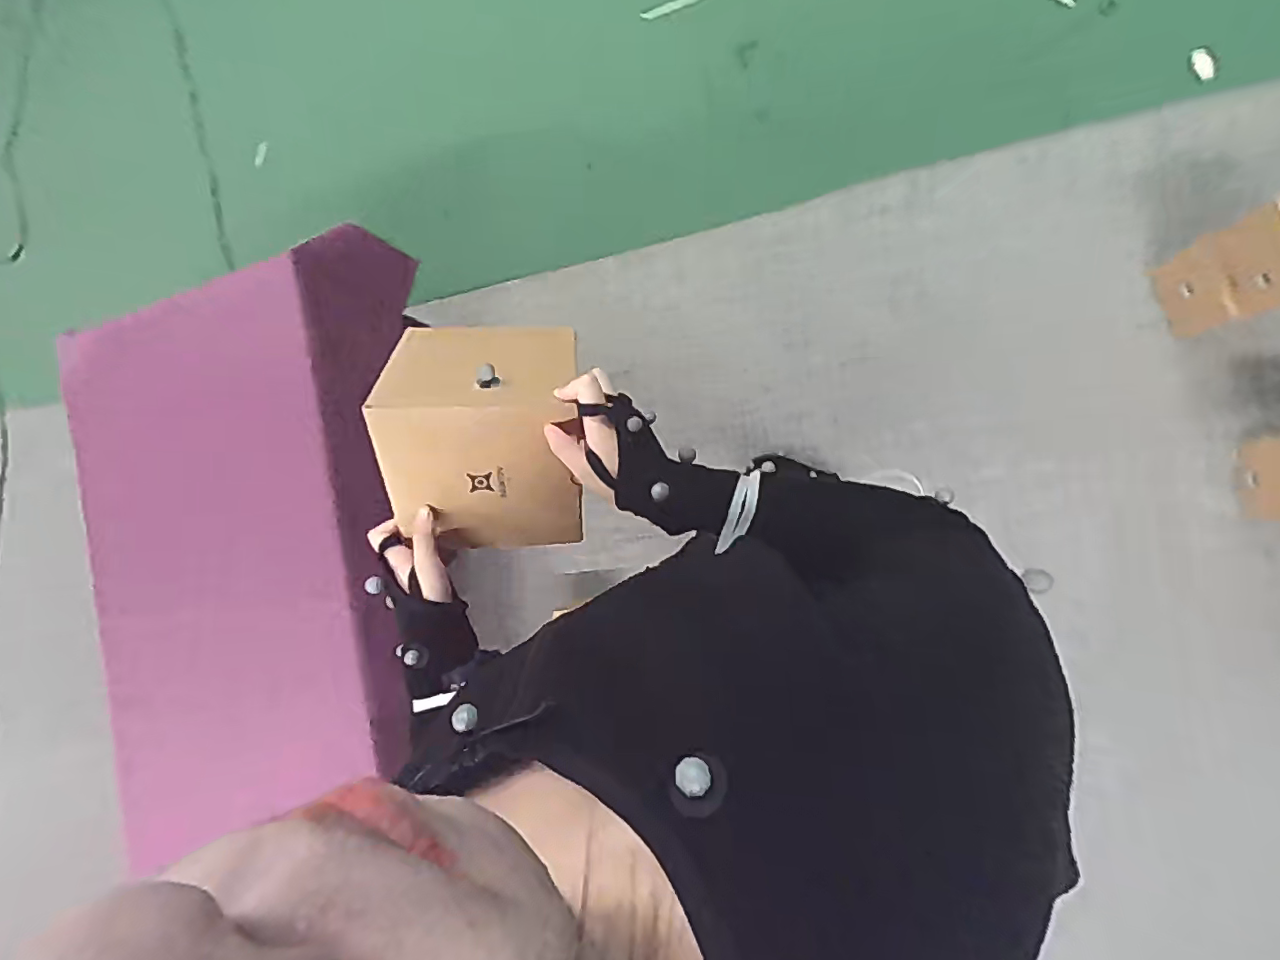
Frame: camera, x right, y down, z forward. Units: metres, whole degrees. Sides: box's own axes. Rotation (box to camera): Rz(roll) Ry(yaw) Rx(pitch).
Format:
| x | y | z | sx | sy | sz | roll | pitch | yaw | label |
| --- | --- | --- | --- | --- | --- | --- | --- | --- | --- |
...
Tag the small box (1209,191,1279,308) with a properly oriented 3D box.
| x | y | z | sx | sy | sz | roll | pitch | yaw | label |
| --- | --- | --- | --- | --- | --- | --- | --- | --- | --- |
| 1.195 | -0.435 | 0.971 | 0.179 | 0.176 | 0.168 | -19 | 85 | 13 | small box |
